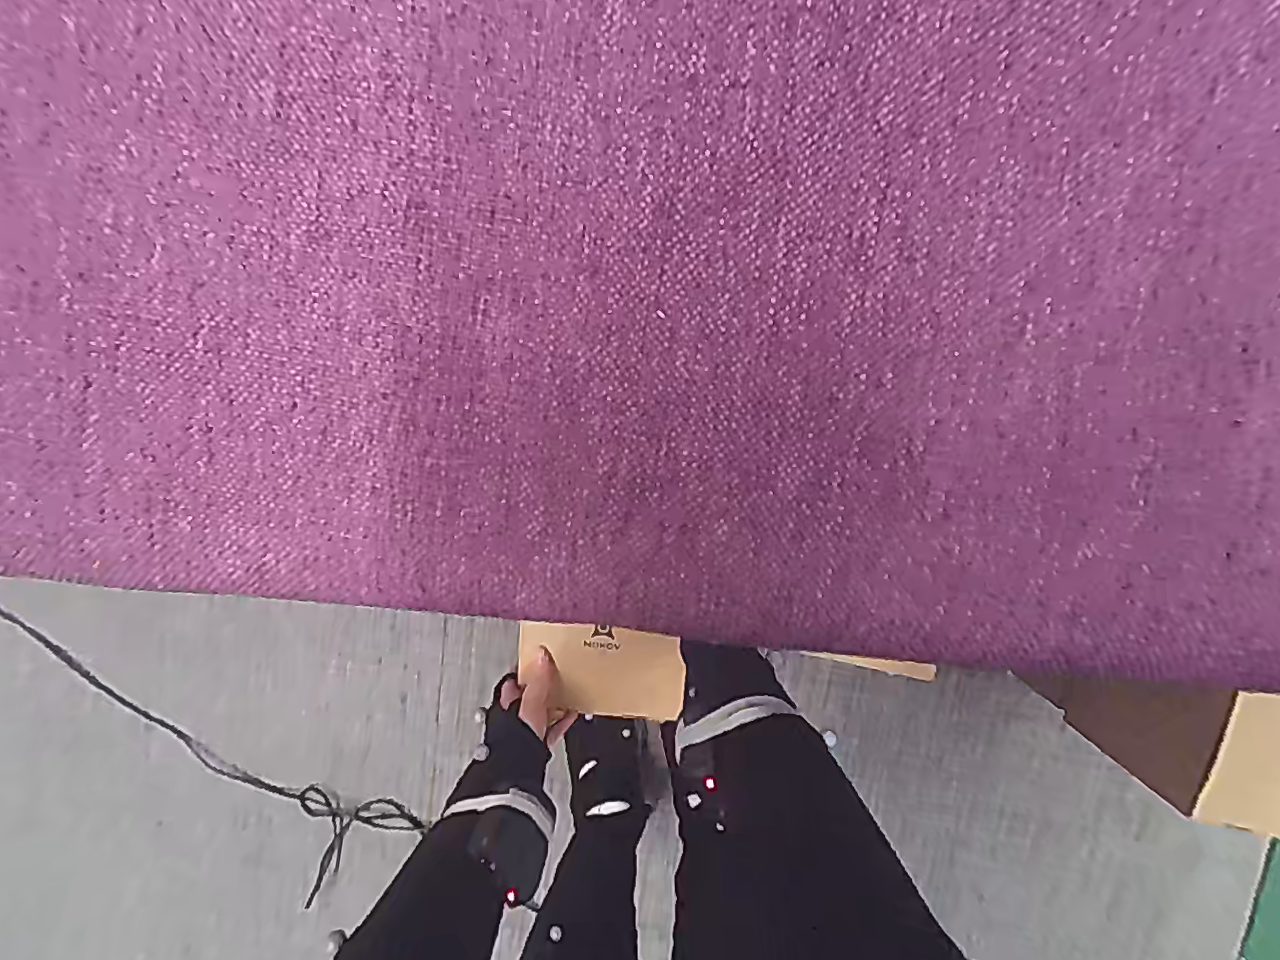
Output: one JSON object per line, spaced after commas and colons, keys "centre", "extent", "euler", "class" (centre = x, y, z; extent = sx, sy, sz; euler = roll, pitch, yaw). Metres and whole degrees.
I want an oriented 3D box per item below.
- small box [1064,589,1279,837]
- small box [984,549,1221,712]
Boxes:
{"centre": [0.609, 0.240, 0.580], "extent": [0.168, 0.176, 0.179], "euler": [12, 98, 1], "class": "small box"}
{"centre": [0.615, 0.213, 0.742], "extent": [0.168, 0.176, 0.179], "euler": [16, 97, 1], "class": "small box"}
